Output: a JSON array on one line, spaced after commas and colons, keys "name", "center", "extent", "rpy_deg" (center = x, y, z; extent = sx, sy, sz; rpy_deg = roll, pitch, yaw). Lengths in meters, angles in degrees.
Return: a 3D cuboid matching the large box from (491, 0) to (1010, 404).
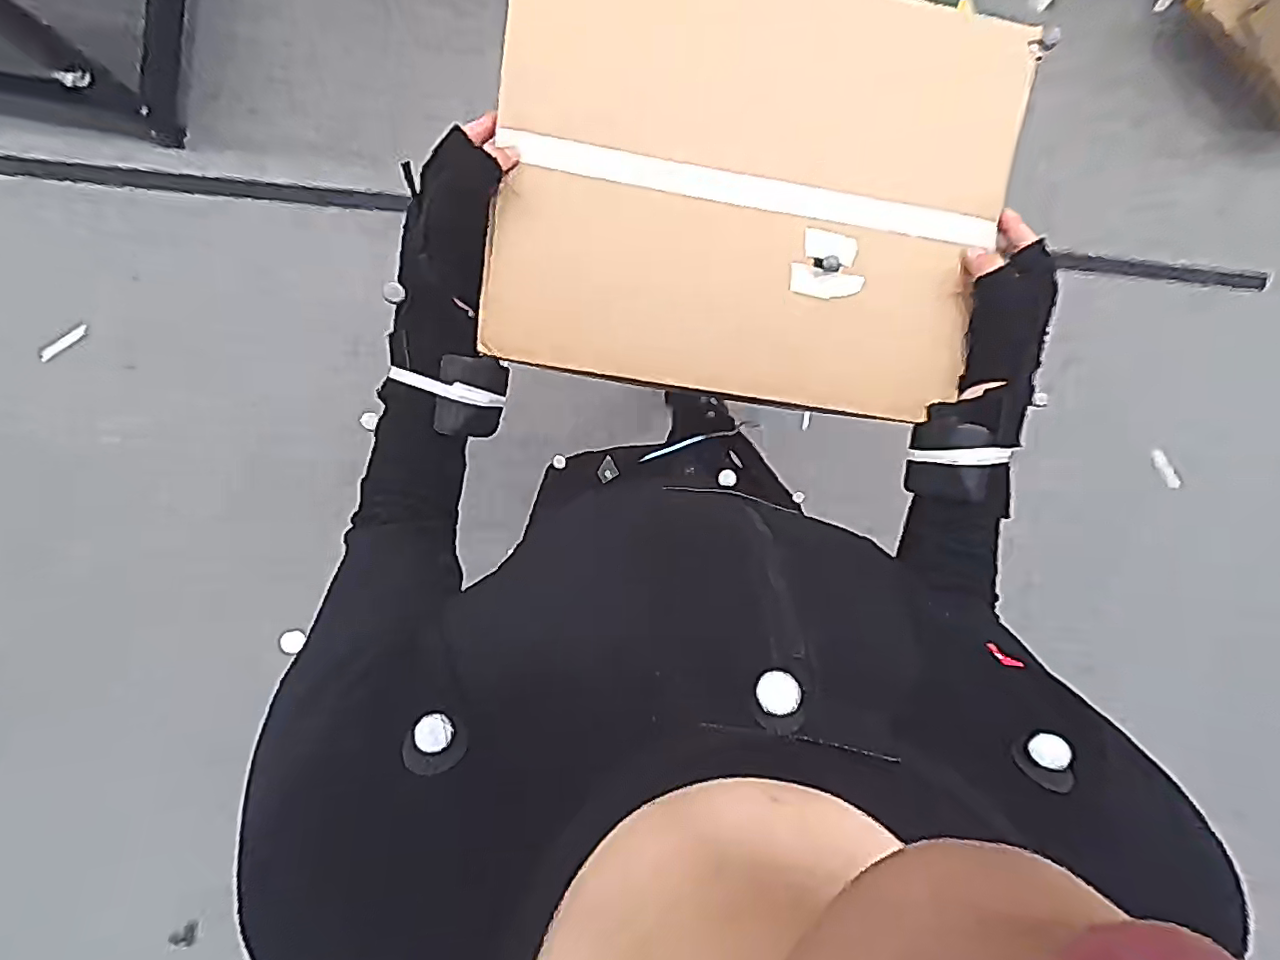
[{"name": "large box", "center": [0.074, -0.264, 0.589], "extent": [0.408, 0.320, 0.320], "rpy_deg": [7, 100, -7]}]
